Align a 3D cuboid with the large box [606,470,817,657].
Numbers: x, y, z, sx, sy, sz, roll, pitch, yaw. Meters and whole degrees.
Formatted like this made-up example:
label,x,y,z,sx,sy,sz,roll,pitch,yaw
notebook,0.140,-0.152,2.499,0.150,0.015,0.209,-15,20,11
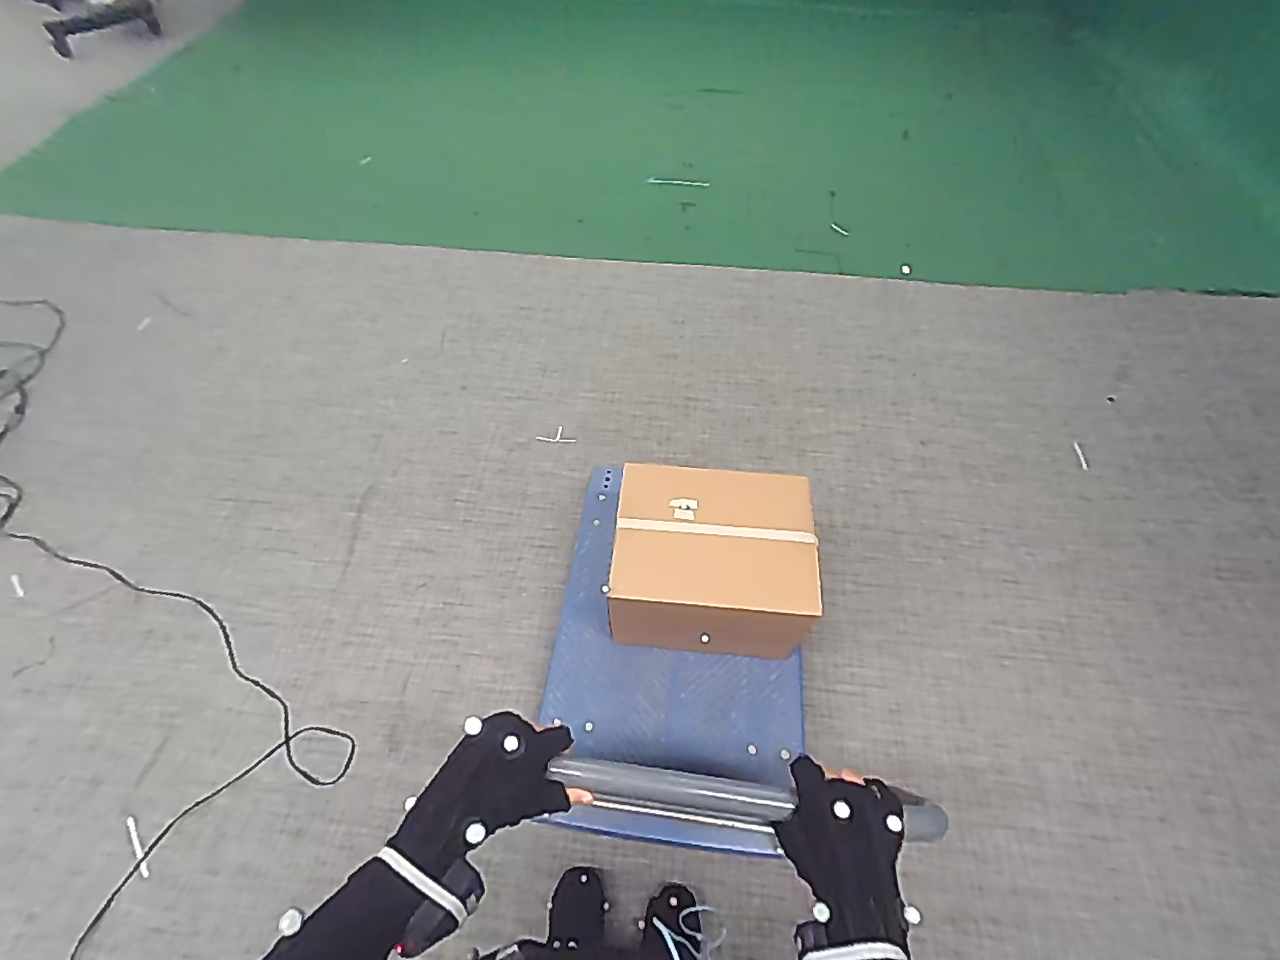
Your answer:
label,x,y,z,sx,sy,sz,roll,pitch,yaw
large box,0.149,0.197,1.219,0.408,0.320,0.320,4,56,4
